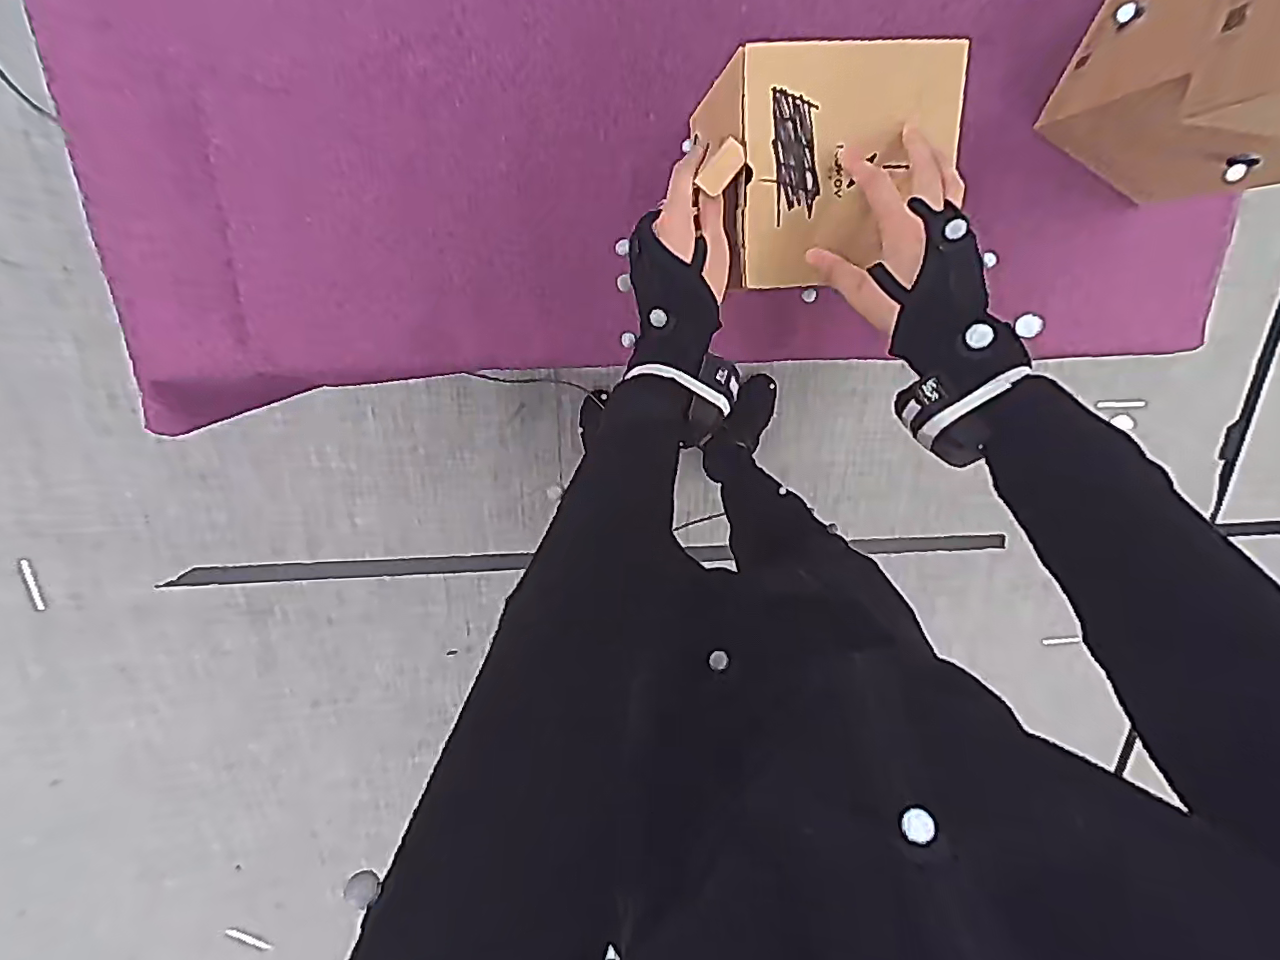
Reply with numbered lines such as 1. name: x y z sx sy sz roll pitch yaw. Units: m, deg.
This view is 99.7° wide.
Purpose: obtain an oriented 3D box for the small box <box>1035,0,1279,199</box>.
1. small box: 0.535 -0.386 0.503 0.179 0.176 0.168 22 104 -14
